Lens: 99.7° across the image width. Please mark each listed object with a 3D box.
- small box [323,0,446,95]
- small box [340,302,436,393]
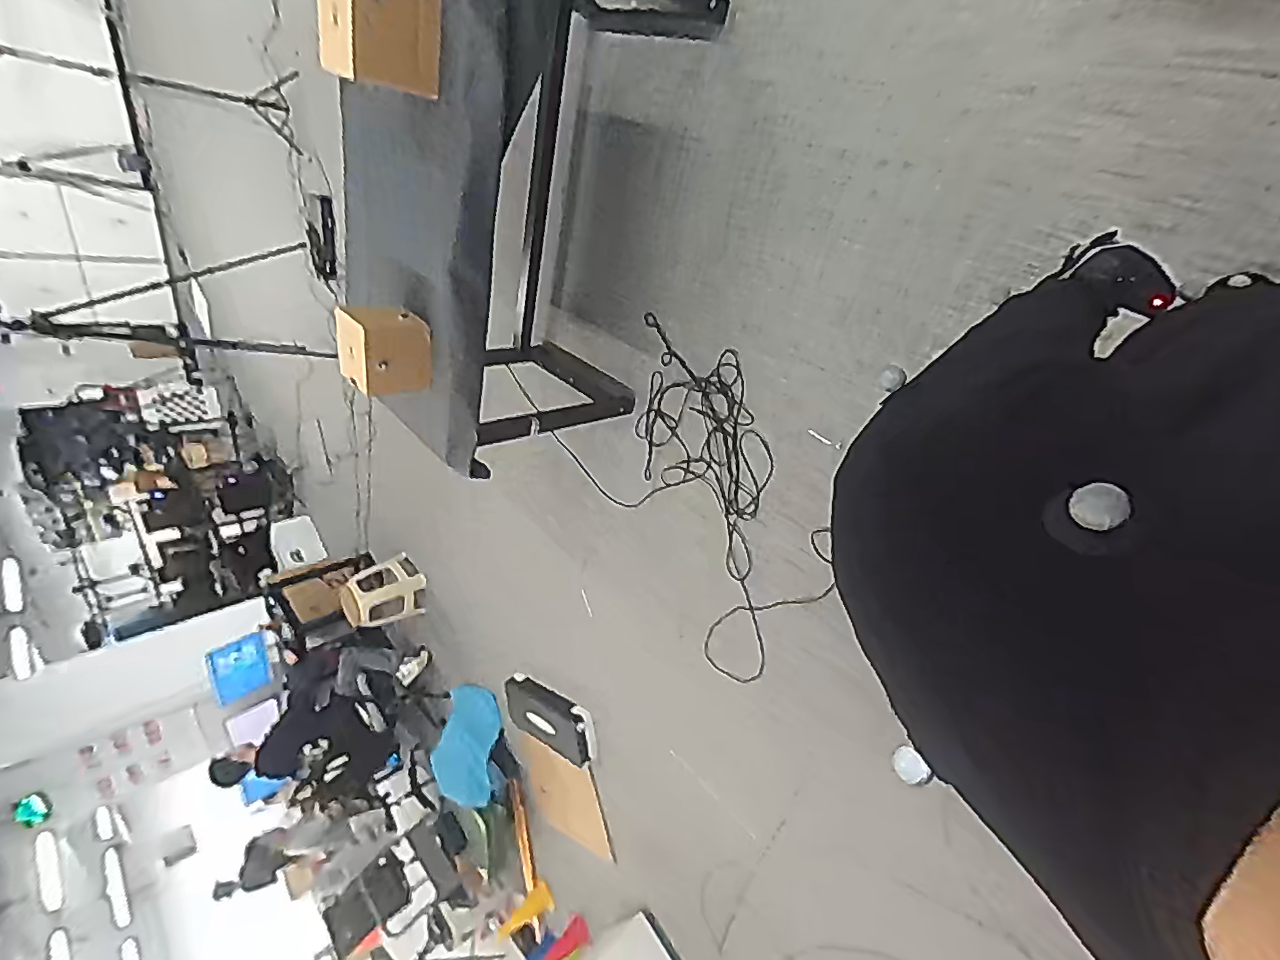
[{"bbox_3d":[-0.490,-0.872,1.041,0.168,0.176,0.179,39,128,31],"label":"small box"},{"bbox_3d":[-0.636,-0.341,1.372,0.168,0.176,0.179,34,125,32],"label":"small box"}]
